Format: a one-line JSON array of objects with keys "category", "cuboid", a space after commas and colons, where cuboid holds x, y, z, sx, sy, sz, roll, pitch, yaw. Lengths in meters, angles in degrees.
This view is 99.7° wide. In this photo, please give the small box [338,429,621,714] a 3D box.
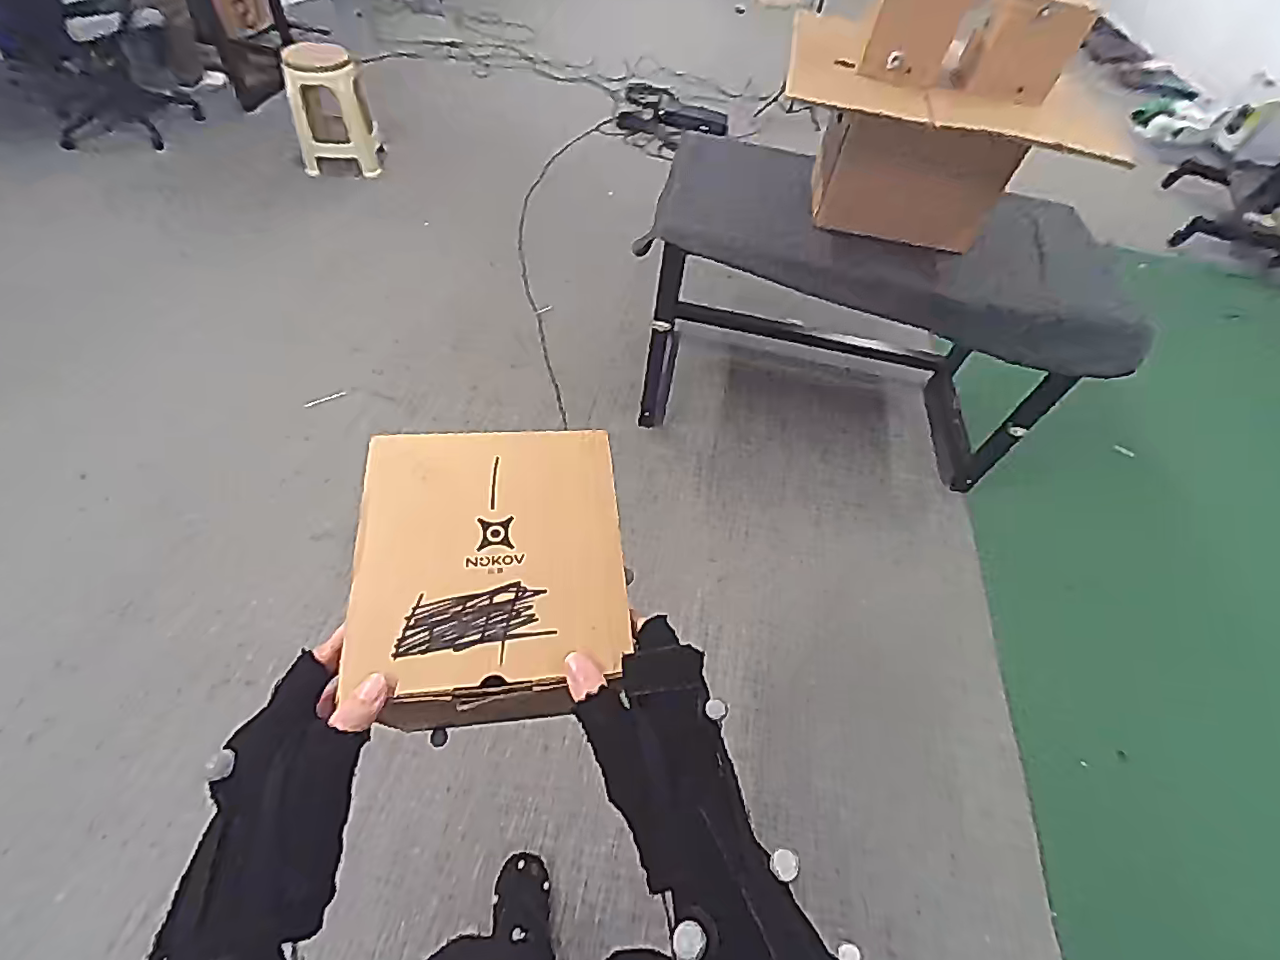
[{"category": "small box", "cuboid": [-0.108, 0.079, 0.423, 0.168, 0.176, 0.179, -2, 60, -10]}]

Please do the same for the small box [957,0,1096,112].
[{"category": "small box", "cuboid": [0.814, -0.930, 1.165, 0.168, 0.176, 0.179, 14, 53, 2]}]

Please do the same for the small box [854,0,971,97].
[{"category": "small box", "cuboid": [0.575, -0.966, 1.167, 0.168, 0.176, 0.179, 12, 55, 2]}]
